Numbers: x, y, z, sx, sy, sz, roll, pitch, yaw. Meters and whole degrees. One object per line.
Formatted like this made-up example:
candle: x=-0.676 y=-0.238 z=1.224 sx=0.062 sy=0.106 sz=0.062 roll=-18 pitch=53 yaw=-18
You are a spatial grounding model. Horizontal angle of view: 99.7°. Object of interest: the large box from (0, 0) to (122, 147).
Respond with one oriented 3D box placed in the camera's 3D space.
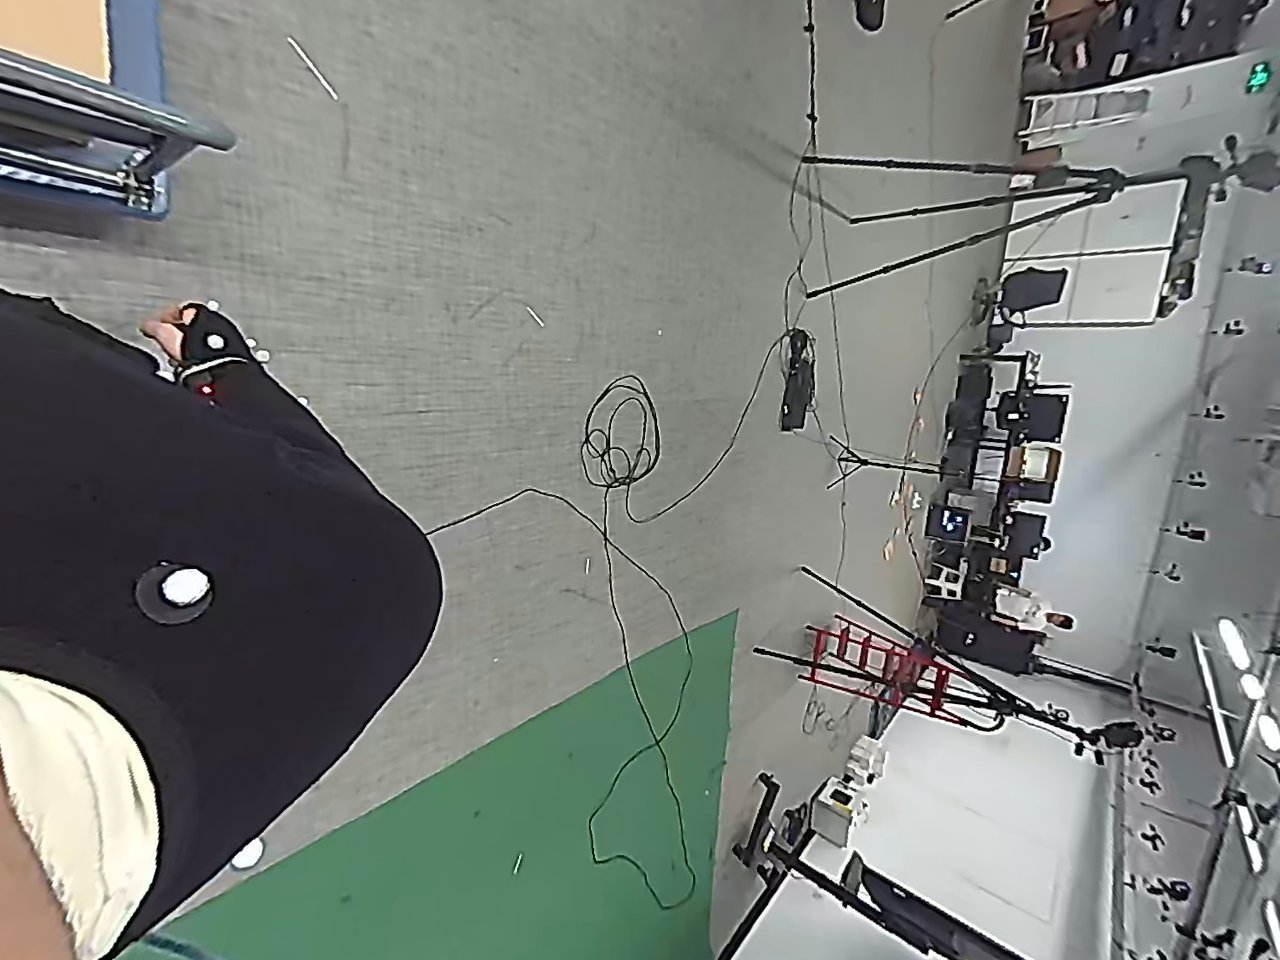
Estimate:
large box: x=-0.968 y=-0.764 z=0.750 sx=0.320 sy=0.320 sz=0.408 roll=-7 pitch=103 yaw=-49
